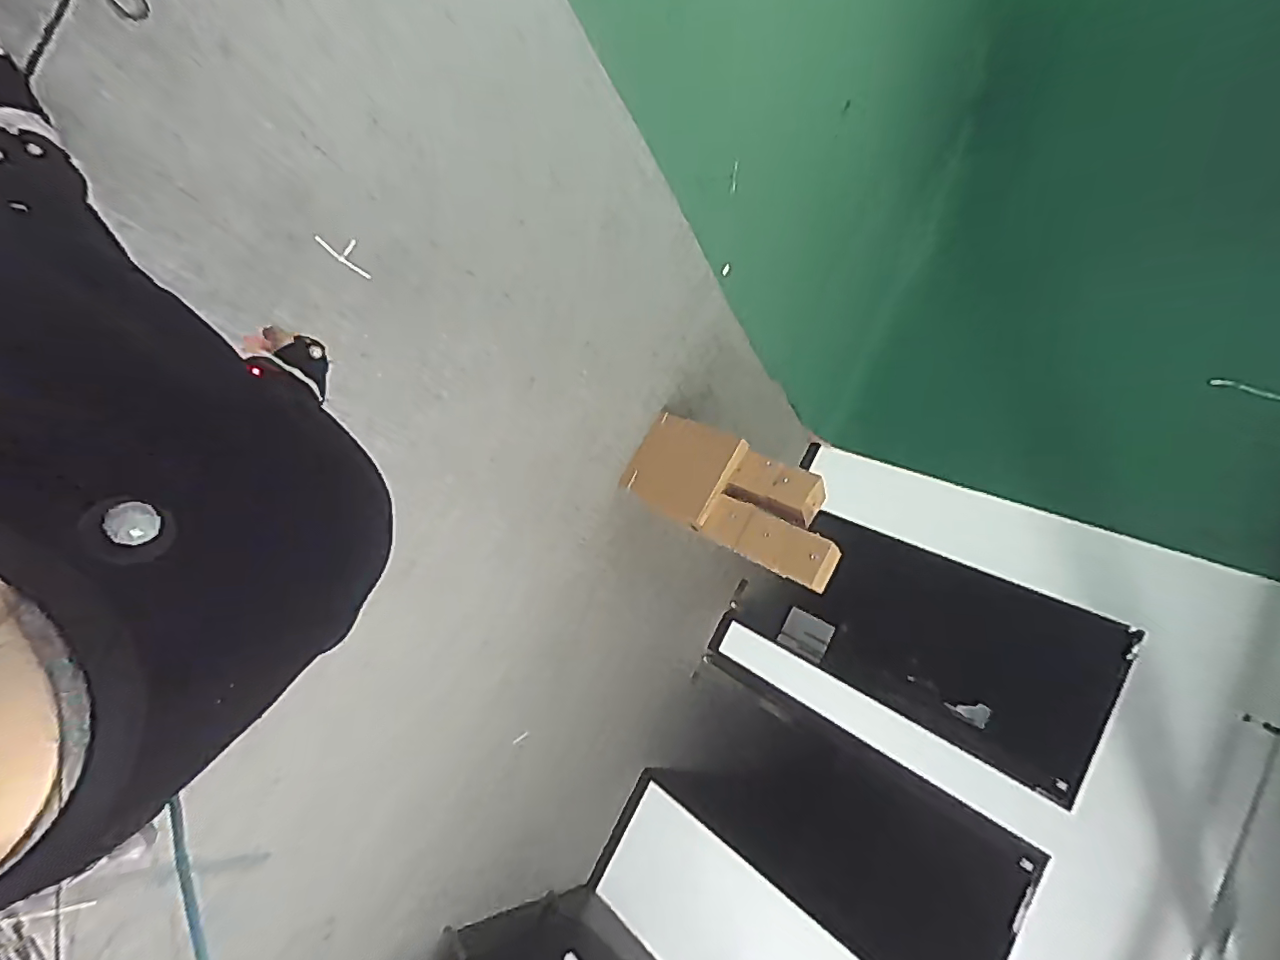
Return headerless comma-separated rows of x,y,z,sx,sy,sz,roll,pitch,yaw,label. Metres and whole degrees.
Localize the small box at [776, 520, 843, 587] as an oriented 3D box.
0.641,0.275,2.046,0.179,0.176,0.168,-60,143,-6,small box
